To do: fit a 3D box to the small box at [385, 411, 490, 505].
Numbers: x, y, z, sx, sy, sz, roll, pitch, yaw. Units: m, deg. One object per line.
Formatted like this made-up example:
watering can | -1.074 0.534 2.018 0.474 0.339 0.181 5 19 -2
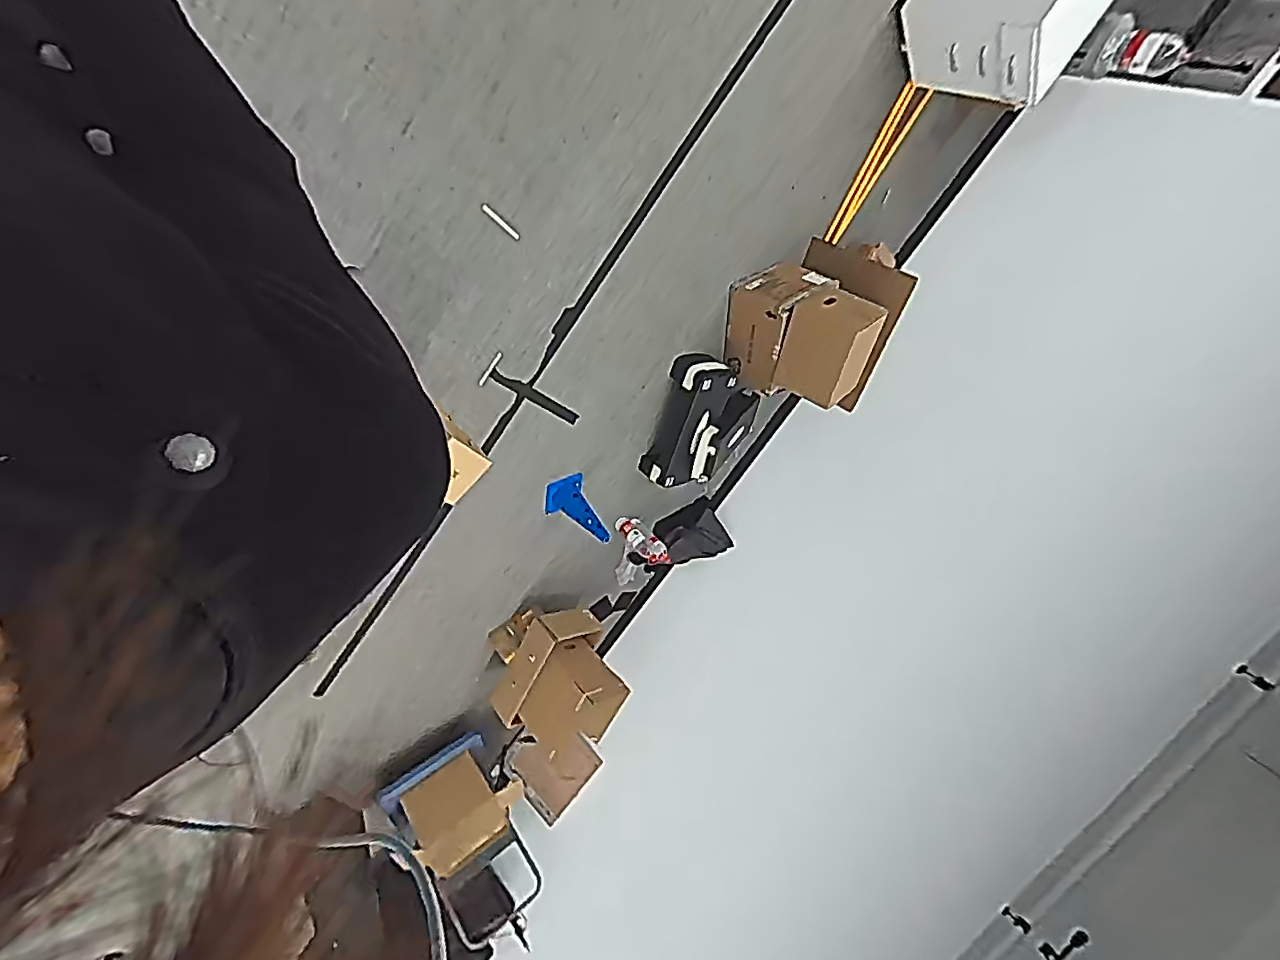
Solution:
small box | -0.559 -0.063 1.493 0.168 0.176 0.179 -48 148 -2
